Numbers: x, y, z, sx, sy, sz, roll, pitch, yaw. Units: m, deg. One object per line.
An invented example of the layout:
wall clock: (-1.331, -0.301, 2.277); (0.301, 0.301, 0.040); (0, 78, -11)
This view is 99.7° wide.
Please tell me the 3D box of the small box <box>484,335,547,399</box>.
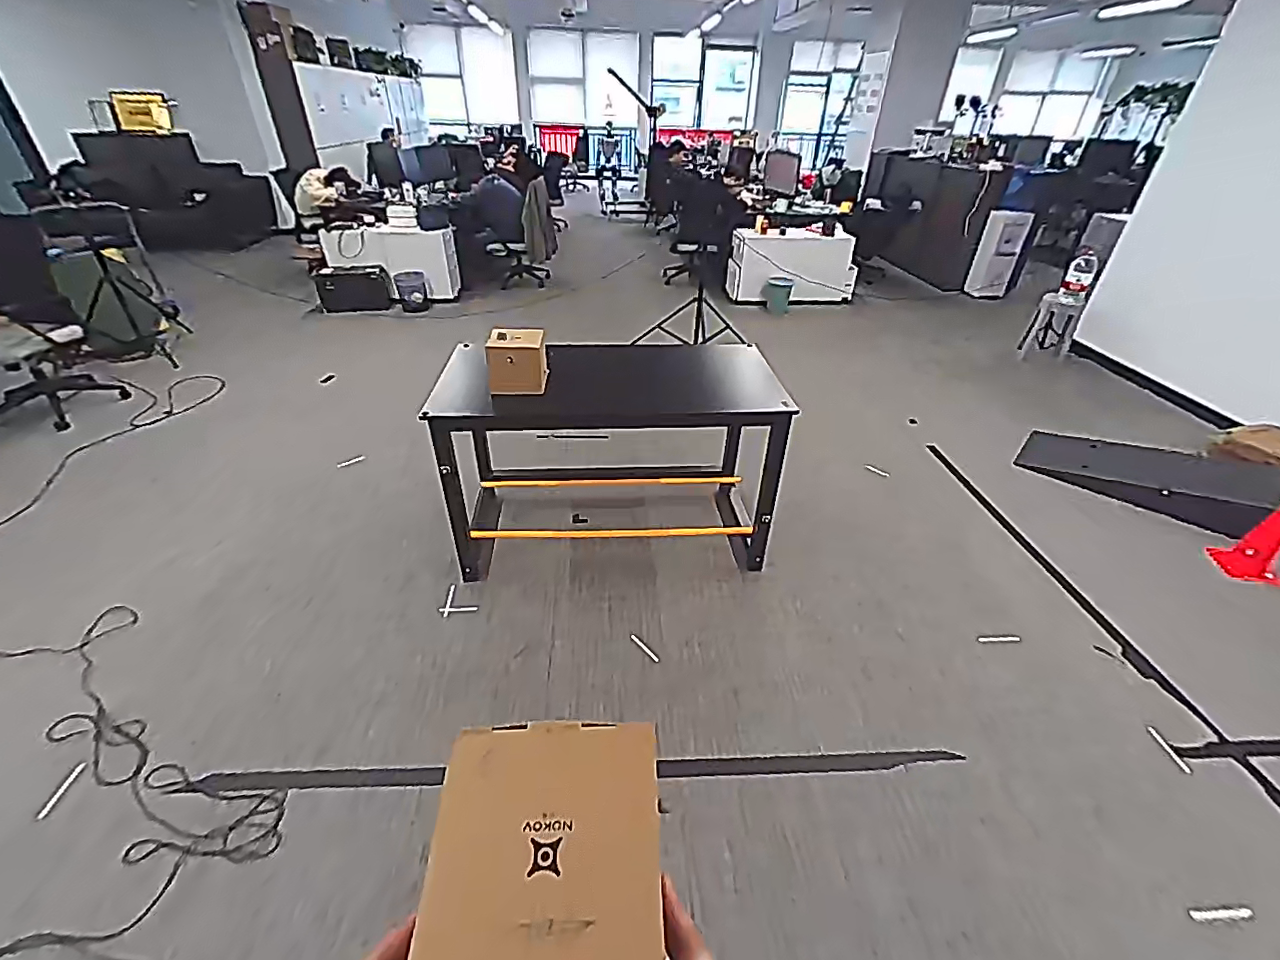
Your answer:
small box: (-0.418, -0.384, 1.839); (0.179, 0.176, 0.168); (0, 34, -4)

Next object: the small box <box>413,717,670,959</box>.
small box: (-0.065, 0.318, 0.445); (0.168, 0.176, 0.179); (-1, 45, -2)
